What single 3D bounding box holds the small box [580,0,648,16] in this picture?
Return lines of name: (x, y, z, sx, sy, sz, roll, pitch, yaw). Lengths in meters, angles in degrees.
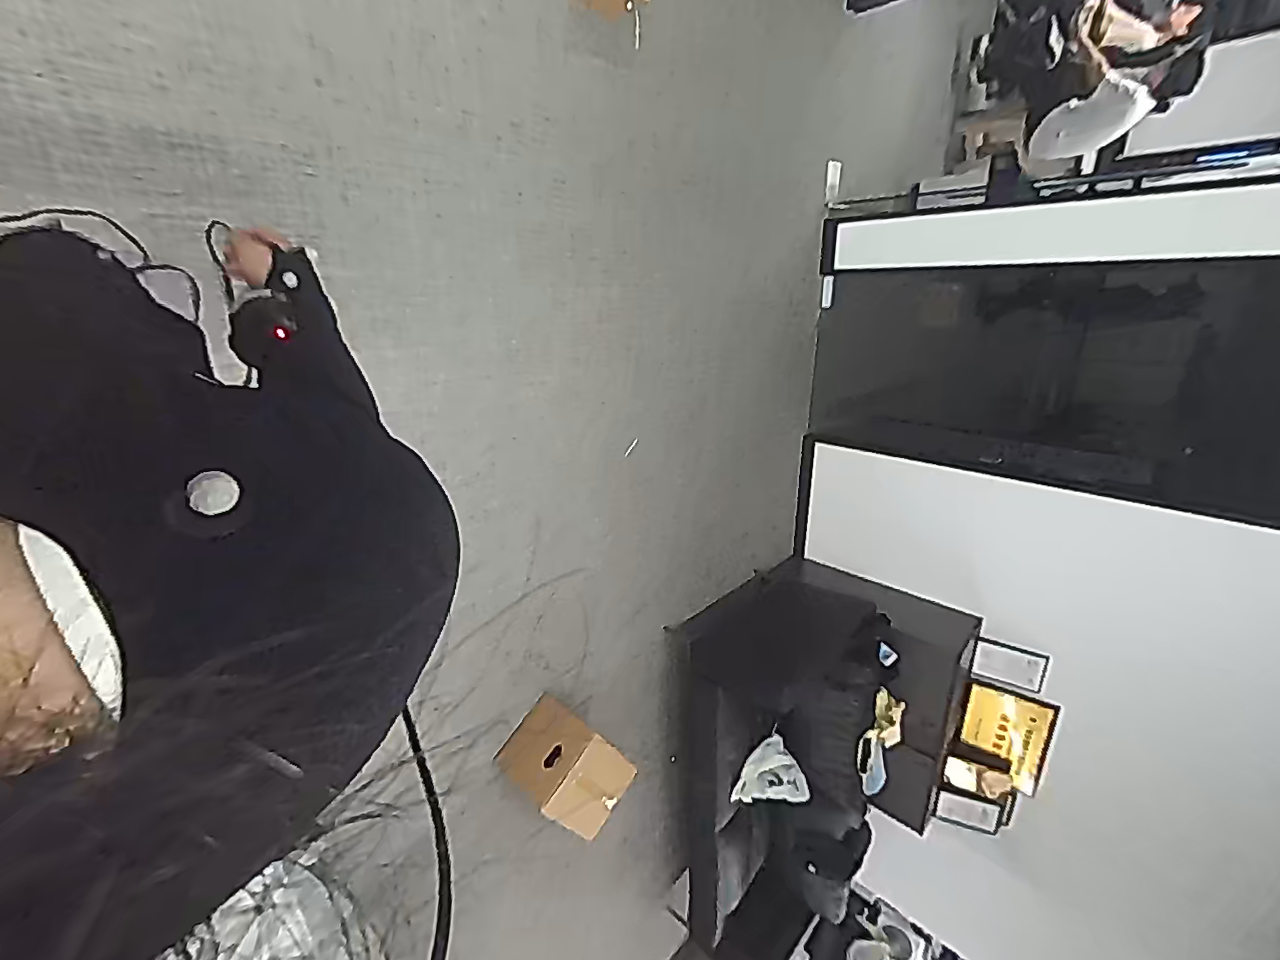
small box: (-0.088, -1.489, 1.561, 0.179, 0.176, 0.168, -13, 112, -45)
